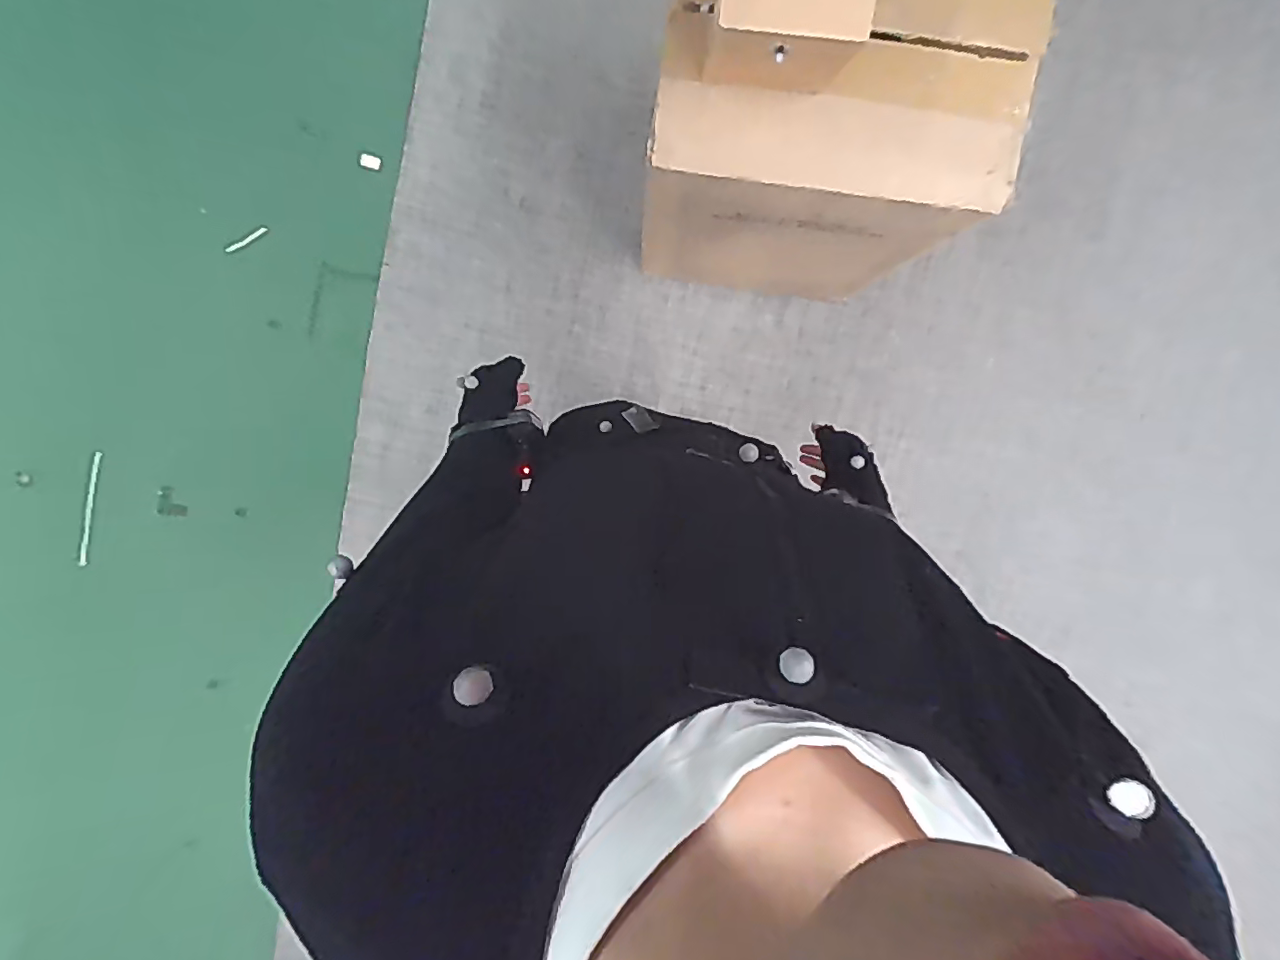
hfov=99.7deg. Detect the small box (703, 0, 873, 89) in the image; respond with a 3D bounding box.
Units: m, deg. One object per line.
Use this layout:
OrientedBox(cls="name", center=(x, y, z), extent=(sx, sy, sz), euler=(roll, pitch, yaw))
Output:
OrientedBox(cls="small box", center=(0.177, -0.607, 0.661), extent=(0.179, 0.176, 0.168), euler=(4, 109, -2))
